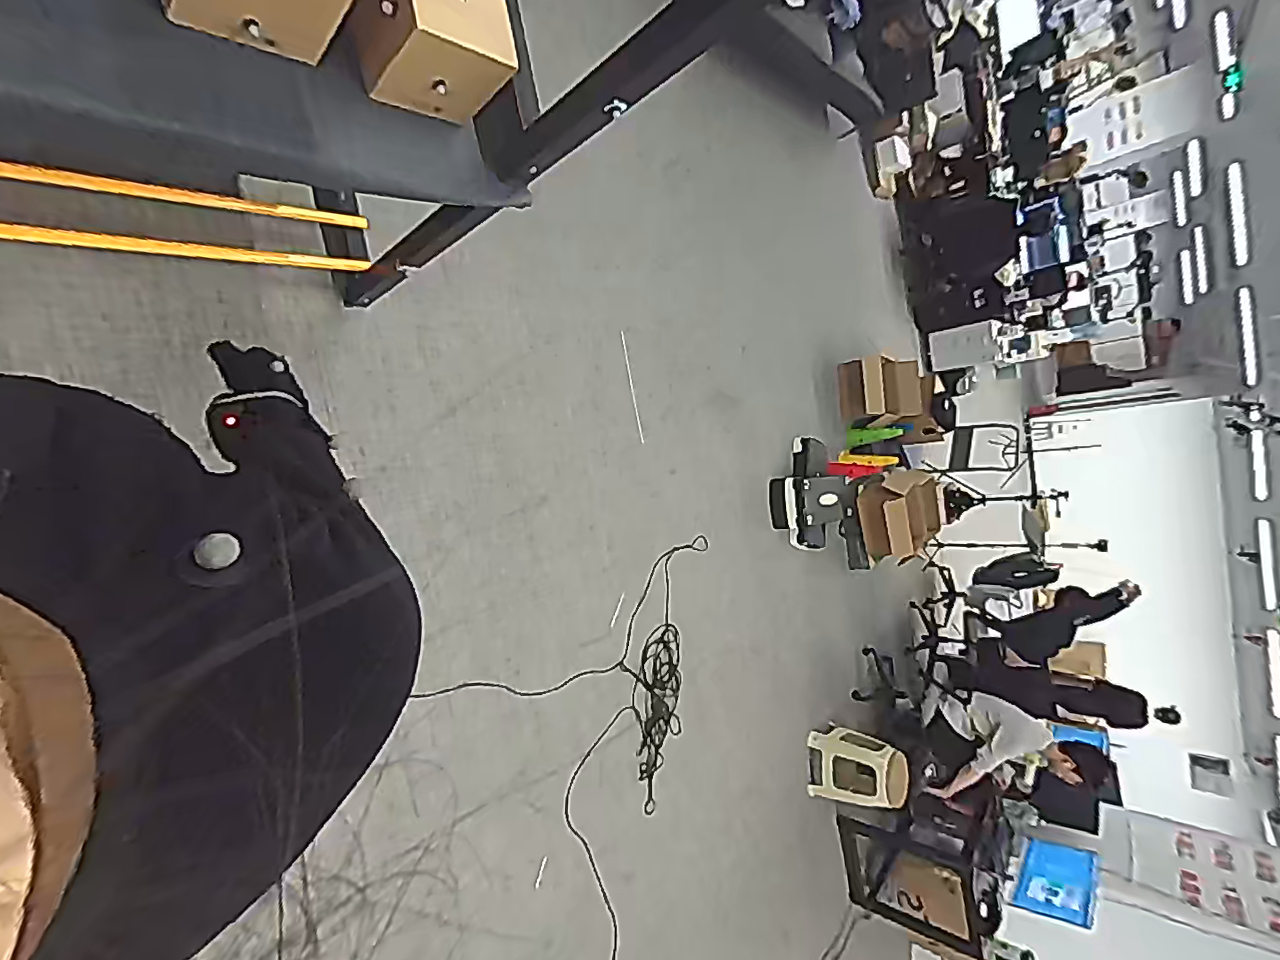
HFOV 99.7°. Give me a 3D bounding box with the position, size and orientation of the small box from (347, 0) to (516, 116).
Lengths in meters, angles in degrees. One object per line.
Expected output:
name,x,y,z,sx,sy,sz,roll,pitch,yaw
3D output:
small box,-0.316,-0.692,0.809,0.168,0.176,0.179,-18,99,-47
